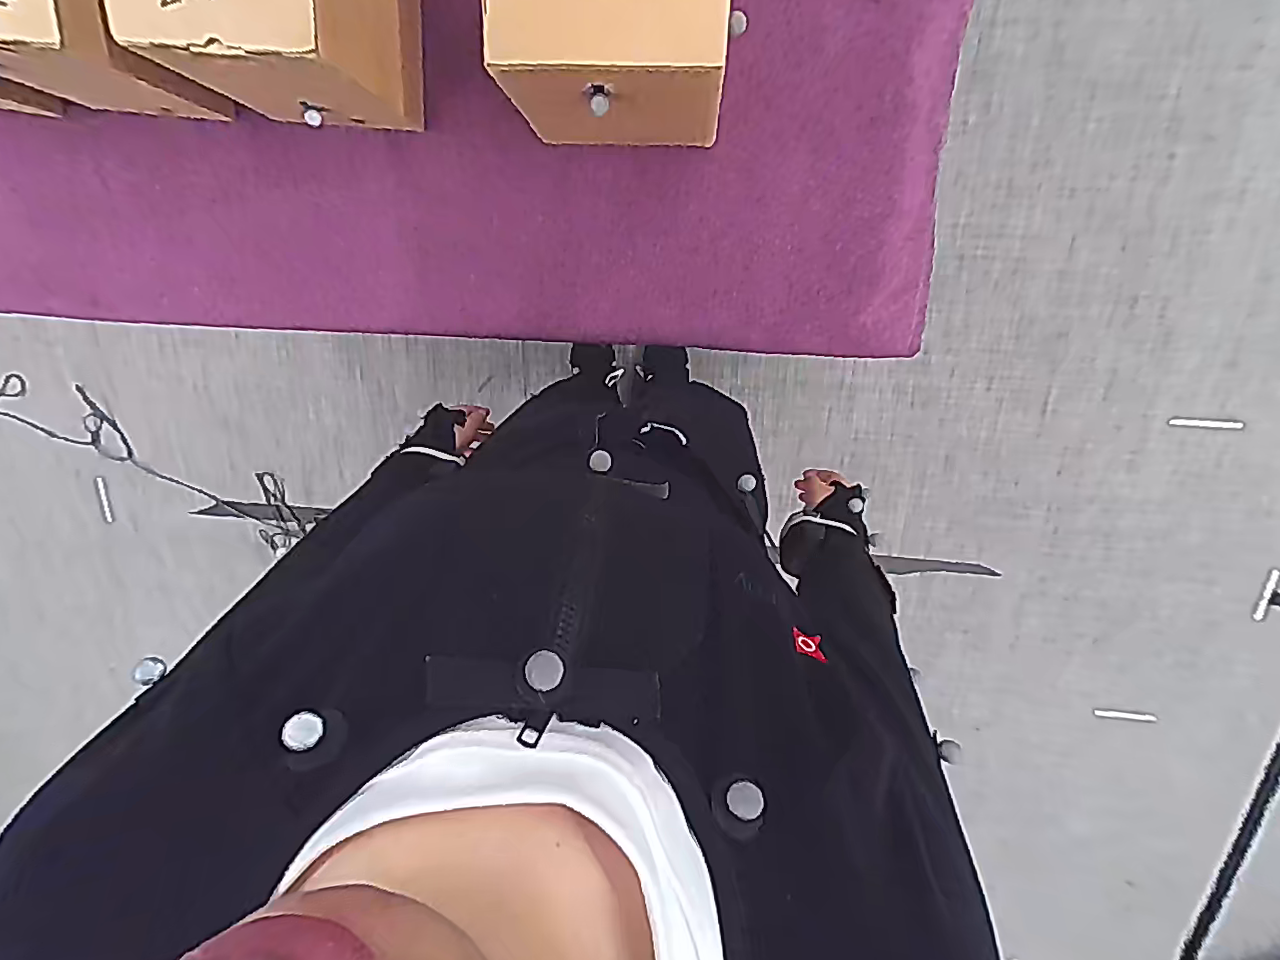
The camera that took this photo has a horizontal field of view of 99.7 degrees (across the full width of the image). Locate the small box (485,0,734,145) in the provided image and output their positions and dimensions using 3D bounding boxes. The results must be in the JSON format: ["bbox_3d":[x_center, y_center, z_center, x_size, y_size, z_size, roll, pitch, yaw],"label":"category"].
[{"bbox_3d":[-0.014,-0.392,0.439,0.179,0.176,0.168,4,106,5],"label":"small box"}]
